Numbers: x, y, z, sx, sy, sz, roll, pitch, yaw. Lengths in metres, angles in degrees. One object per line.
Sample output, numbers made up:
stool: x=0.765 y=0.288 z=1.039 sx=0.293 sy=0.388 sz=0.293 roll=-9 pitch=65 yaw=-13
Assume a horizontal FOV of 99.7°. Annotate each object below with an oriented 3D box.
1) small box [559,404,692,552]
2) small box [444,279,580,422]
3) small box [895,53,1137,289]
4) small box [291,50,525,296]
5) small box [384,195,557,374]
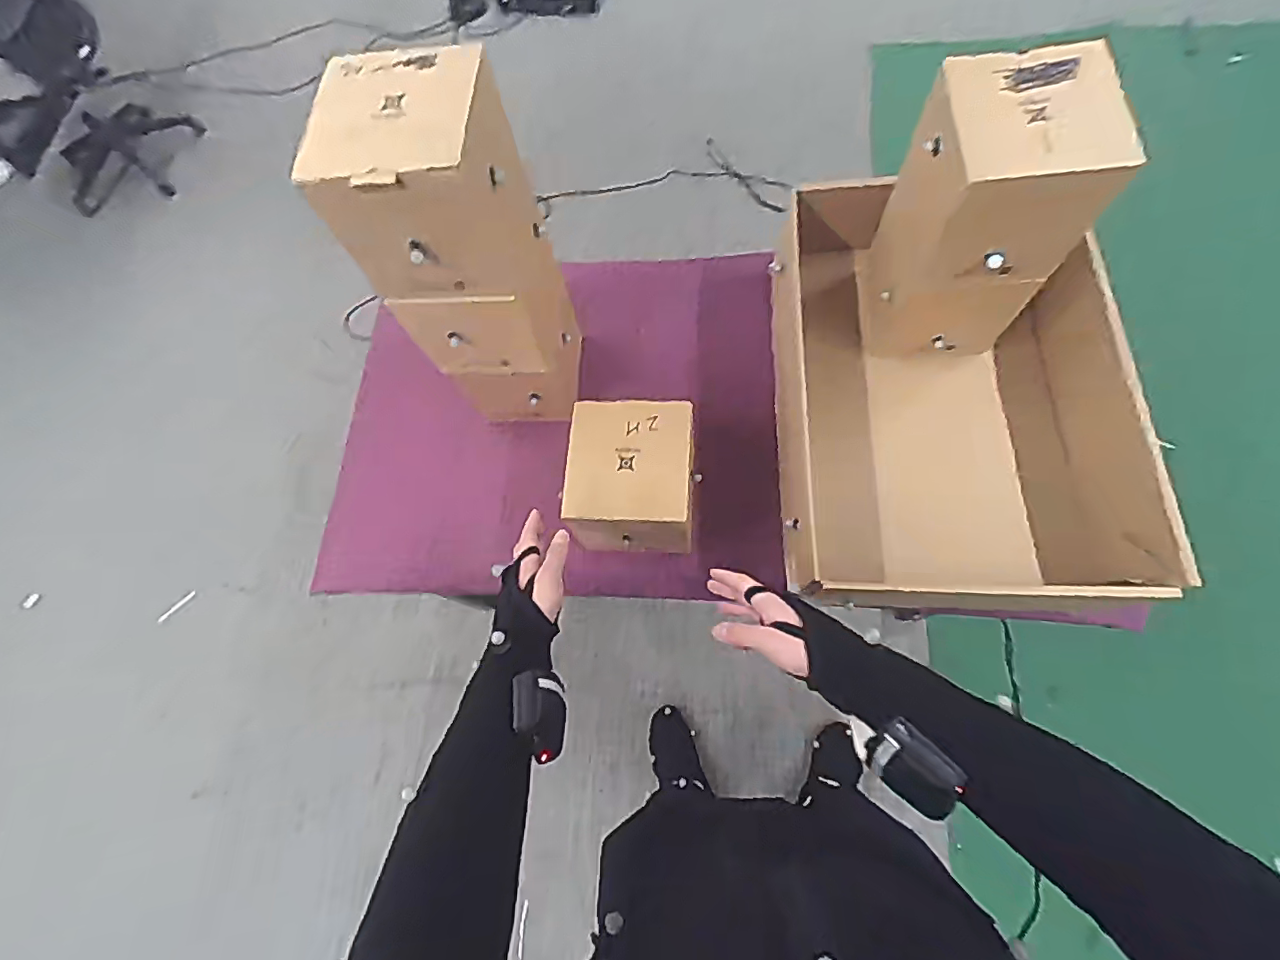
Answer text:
small box: x=-0.010 y=0.004 z=0.795 sx=0.168 sy=0.176 sz=0.179 roll=2 pitch=69 yaw=7
small box: x=-0.200 y=-0.206 z=0.899 sx=0.168 sy=0.176 sz=0.179 roll=1 pitch=69 yaw=6
small box: x=0.422 y=-0.356 z=0.646 sx=0.168 sy=0.176 sz=0.179 roll=-2 pitch=71 yaw=8
small box: x=-0.233 y=-0.320 z=0.595 sx=0.168 sy=0.176 sz=0.179 roll=0 pitch=70 yaw=5
small box: x=-0.218 y=-0.259 z=0.747 sx=0.168 sy=0.176 sz=0.179 roll=0 pitch=69 yaw=6
